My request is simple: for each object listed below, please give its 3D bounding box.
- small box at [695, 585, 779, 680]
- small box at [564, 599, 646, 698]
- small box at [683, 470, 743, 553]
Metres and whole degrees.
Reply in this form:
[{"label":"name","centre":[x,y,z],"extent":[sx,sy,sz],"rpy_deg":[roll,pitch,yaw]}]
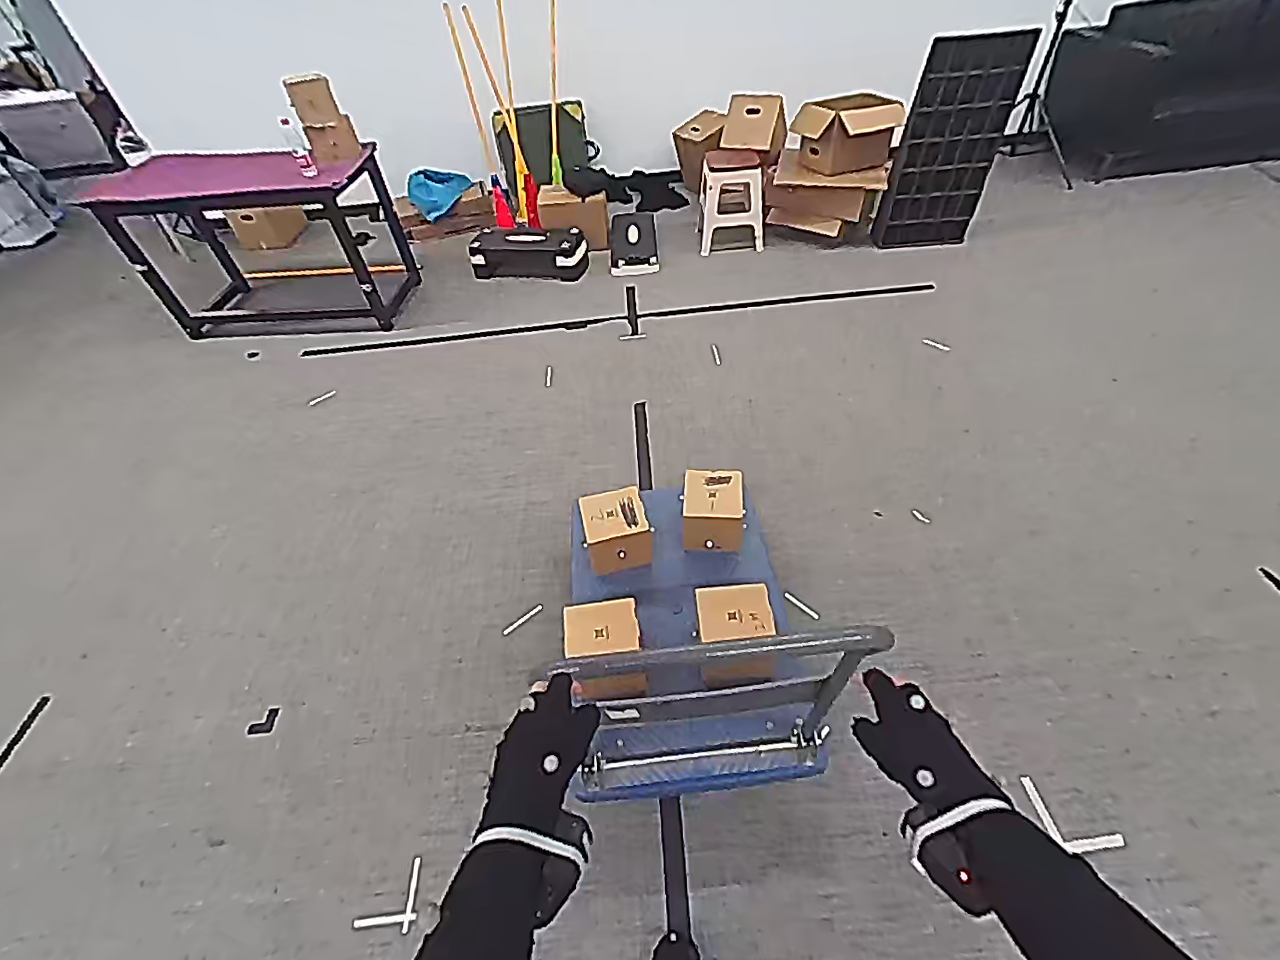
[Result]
[{"label":"small box","centre":[0.230,0.376,1.320],"extent":[0.179,0.176,0.168],"rpy_deg":[-5,48,2]},{"label":"small box","centre":[-0.084,0.414,1.318],"extent":[0.179,0.176,0.168],"rpy_deg":[-8,47,-3]},{"label":"small box","centre":[0.212,0.092,1.581],"extent":[0.168,0.176,0.179],"rpy_deg":[1,49,7]}]
